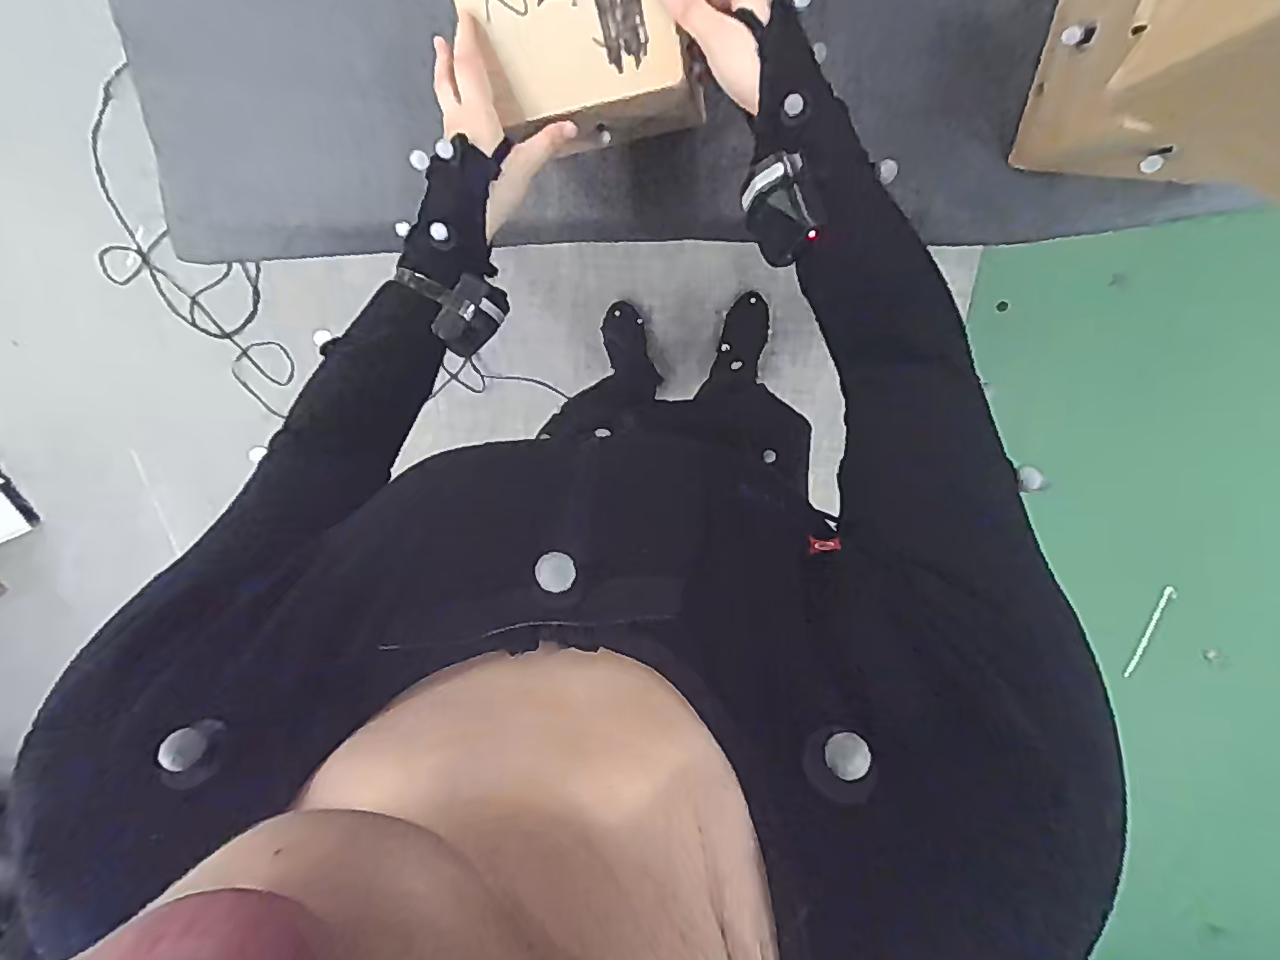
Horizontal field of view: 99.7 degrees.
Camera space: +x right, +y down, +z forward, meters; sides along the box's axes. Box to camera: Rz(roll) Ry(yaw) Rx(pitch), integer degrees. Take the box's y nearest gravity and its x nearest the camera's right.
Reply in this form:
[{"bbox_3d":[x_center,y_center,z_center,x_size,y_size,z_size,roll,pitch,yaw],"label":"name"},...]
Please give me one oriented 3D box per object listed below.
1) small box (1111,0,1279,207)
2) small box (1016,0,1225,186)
[{"bbox_3d":[0.415,-0.260,0.276,0.179,0.176,0.168,28,113,-2],"label":"small box"},{"bbox_3d":[0.440,-0.336,0.419,0.179,0.176,0.168,9,113,7],"label":"small box"}]
